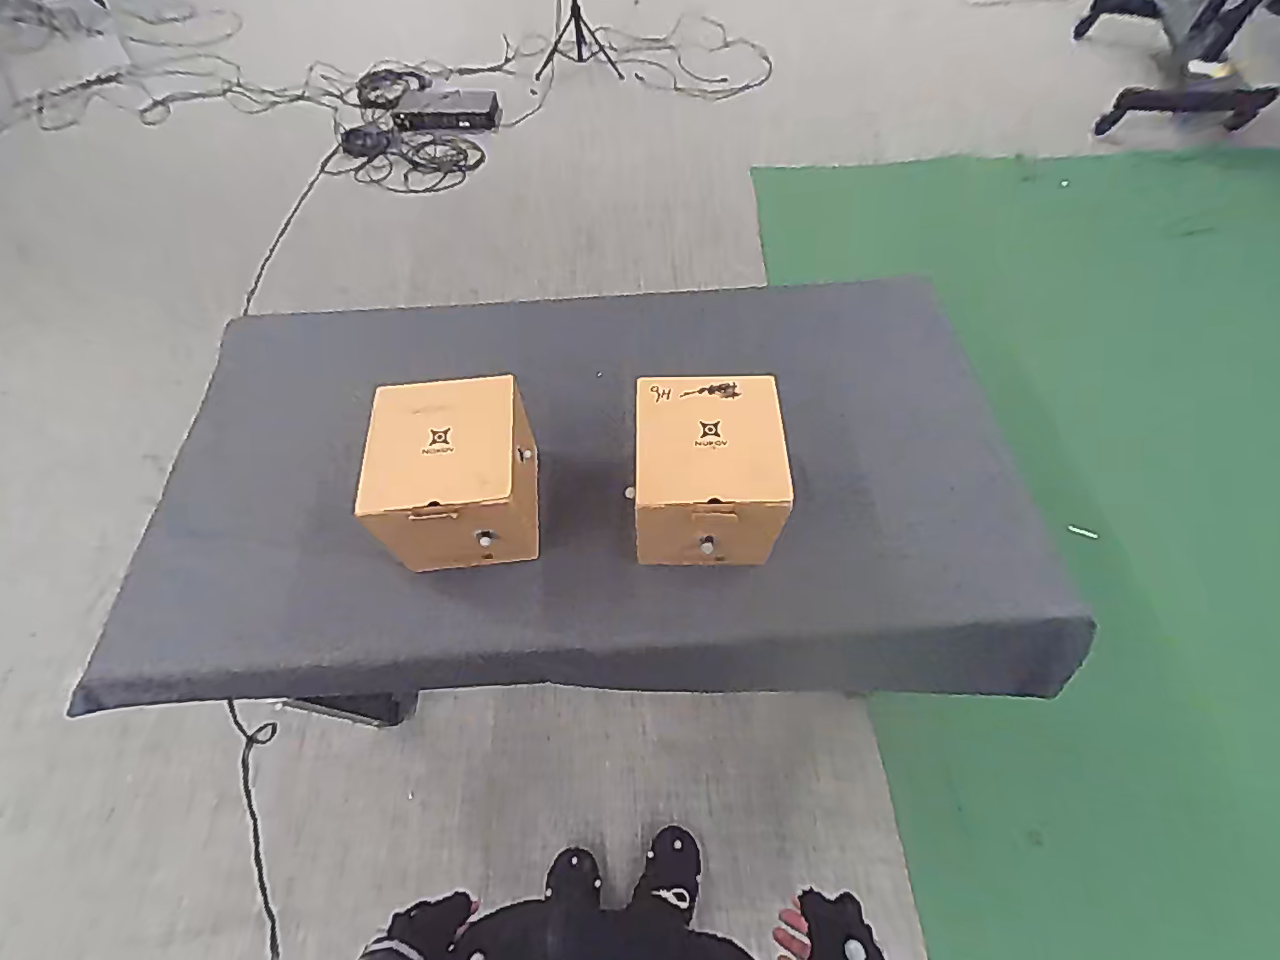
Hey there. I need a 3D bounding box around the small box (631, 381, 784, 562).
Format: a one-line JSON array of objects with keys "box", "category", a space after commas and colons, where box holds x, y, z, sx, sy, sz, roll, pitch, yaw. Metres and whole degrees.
[{"box": [0.076, -0.003, 0.679, 0.168, 0.176, 0.179, -1, 60, 2], "category": "small box"}]

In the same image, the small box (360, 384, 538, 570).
[{"box": [-0.226, 0.005, 0.689, 0.168, 0.176, 0.179, -7, 59, -3], "category": "small box"}]
